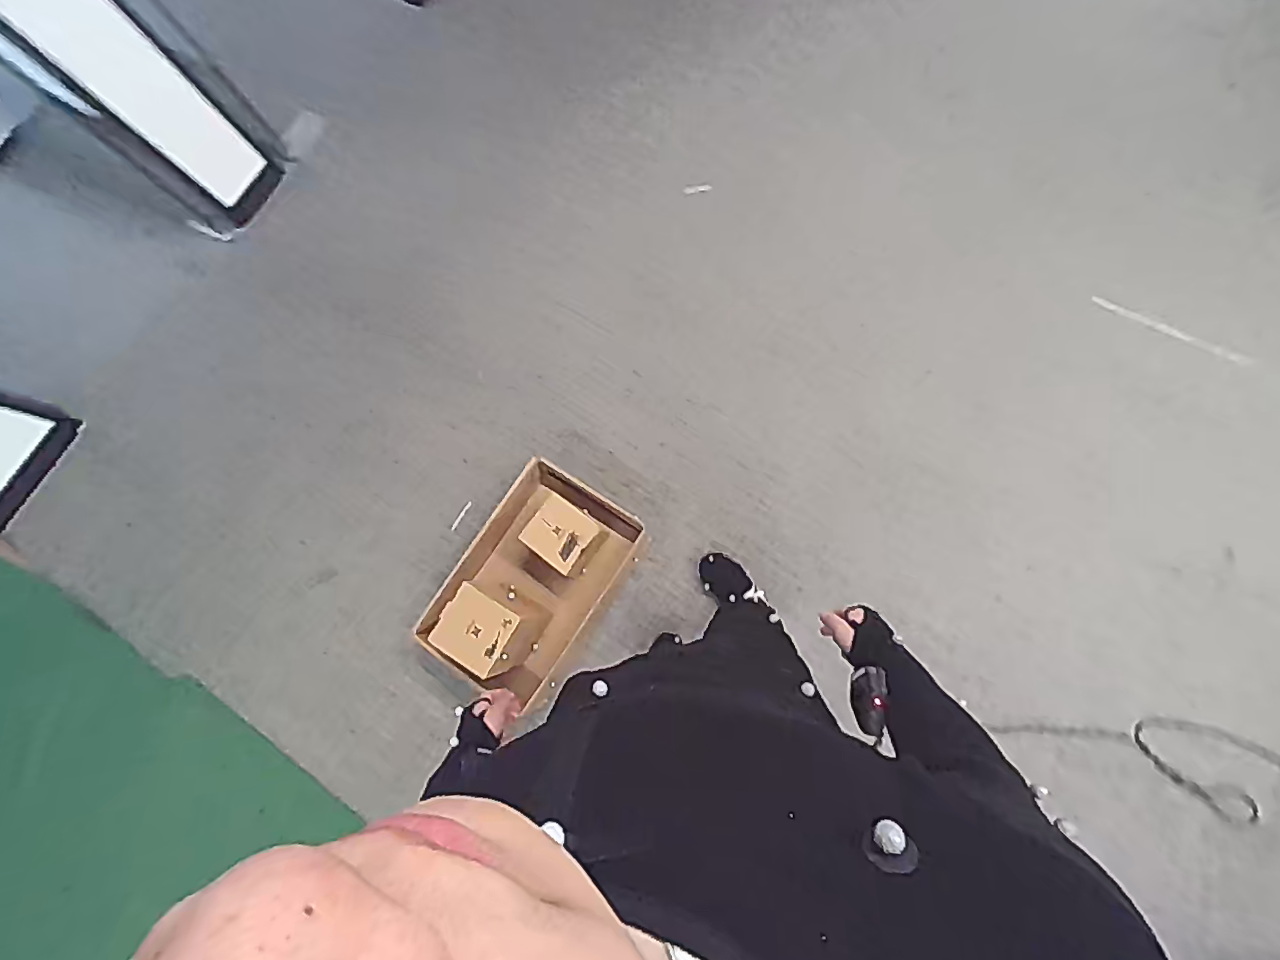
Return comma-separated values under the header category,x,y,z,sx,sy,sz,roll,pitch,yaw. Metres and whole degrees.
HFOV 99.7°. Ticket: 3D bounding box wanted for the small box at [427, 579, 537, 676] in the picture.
category,x,y,z,sx,sy,sz,roll,pitch,yaw
small box,-0.391,0.369,1.367,0.179,0.176,0.168,29,82,11
